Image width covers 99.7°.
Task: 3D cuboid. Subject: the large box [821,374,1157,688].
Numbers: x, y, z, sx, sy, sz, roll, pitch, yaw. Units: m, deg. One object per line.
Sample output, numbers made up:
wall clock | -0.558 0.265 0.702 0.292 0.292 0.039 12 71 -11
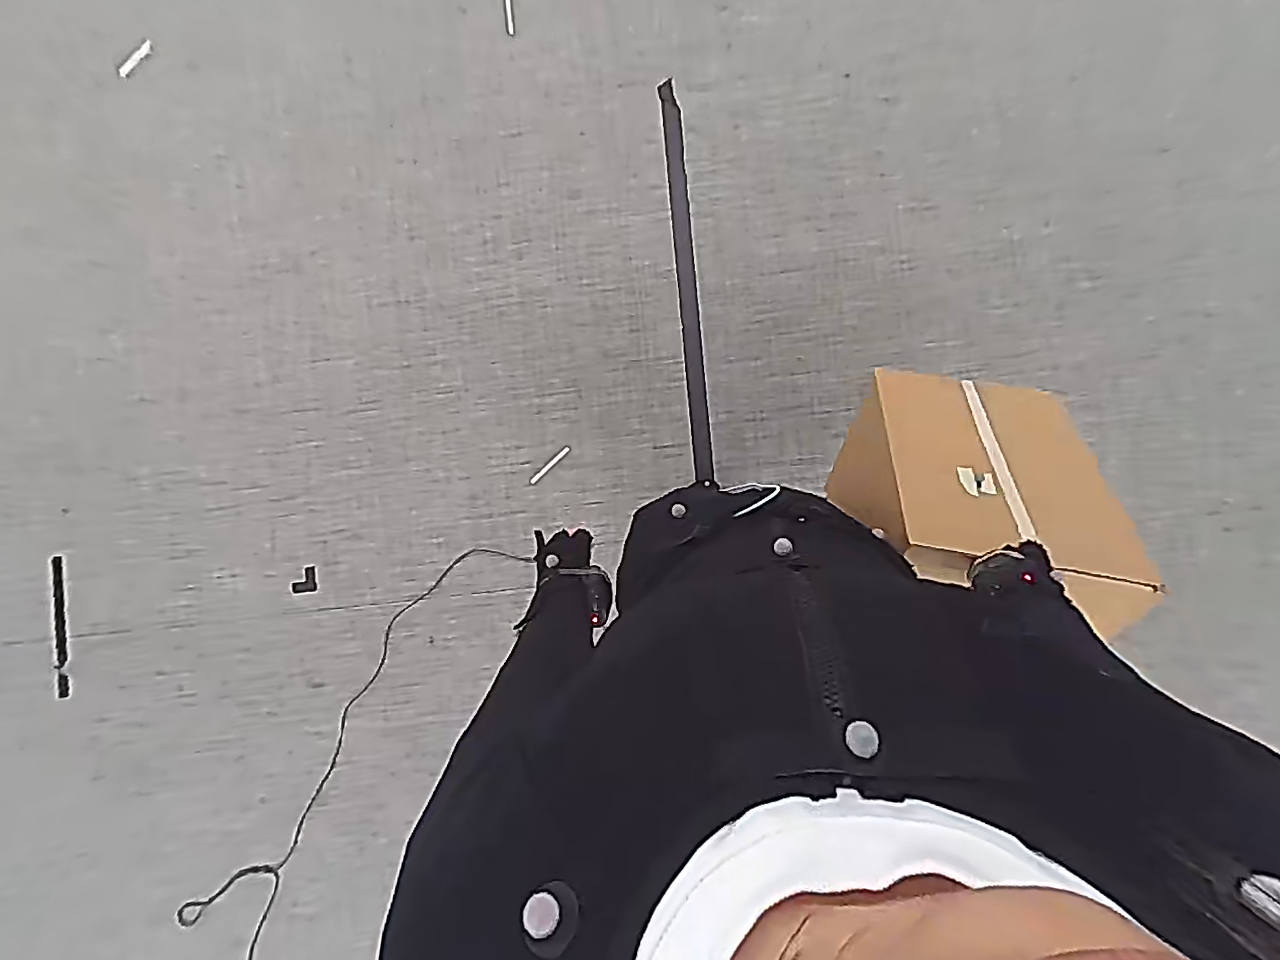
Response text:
large box | 0.518 0.077 0.924 0.320 0.320 0.408 9 47 5
